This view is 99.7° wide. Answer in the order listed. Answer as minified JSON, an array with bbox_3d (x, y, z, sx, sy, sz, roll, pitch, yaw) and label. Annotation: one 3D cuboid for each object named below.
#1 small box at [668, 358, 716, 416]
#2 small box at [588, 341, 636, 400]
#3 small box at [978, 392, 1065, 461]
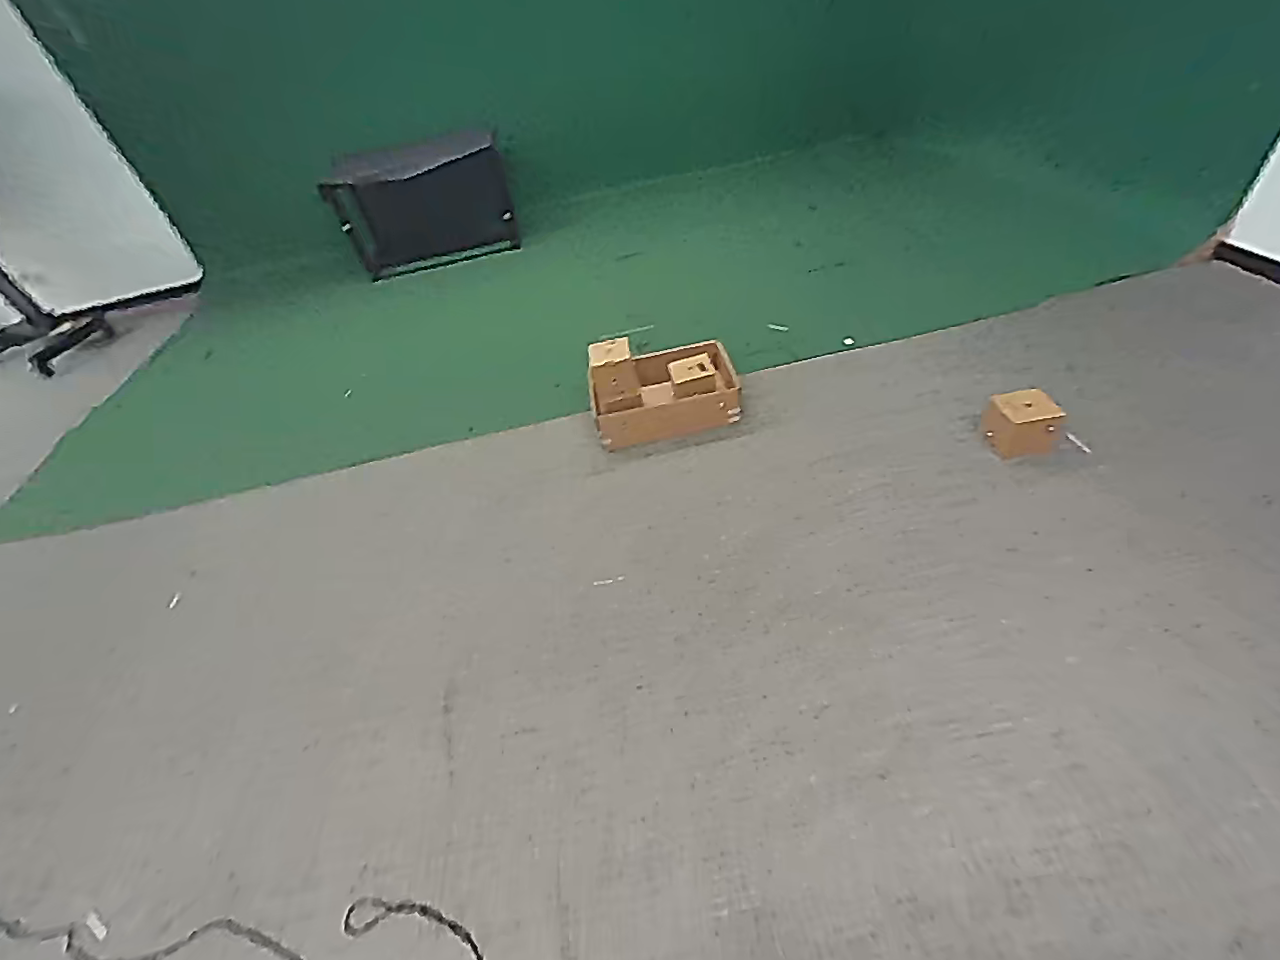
[{"bbox_3d":[0.227,-0.402,2.351,0.179,0.176,0.168,-13,44,1],"label":"small box"},{"bbox_3d":[-0.115,-0.445,2.238,0.168,0.176,0.179,-11,45,2],"label":"small box"},{"bbox_3d":[1.364,-0.192,1.948,0.179,0.176,0.168,-10,43,3],"label":"small box"}]
